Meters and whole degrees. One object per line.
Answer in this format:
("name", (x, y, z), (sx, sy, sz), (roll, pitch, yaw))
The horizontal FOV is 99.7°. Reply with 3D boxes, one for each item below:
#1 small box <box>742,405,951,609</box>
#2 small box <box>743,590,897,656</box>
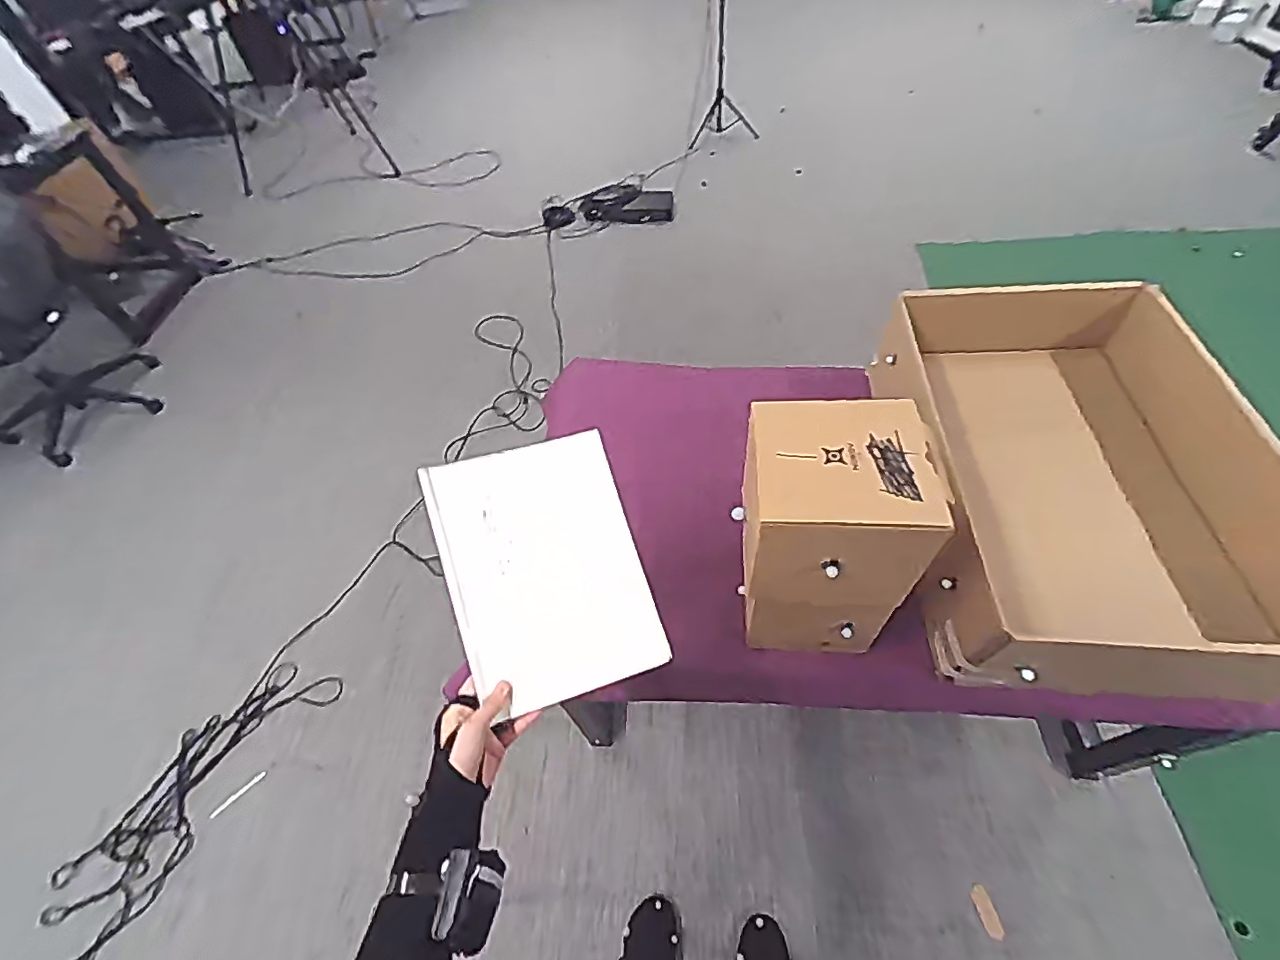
("small box", (0.211, 0.034, 0.610), (0.179, 0.176, 0.168), (1, 51, 7))
("small box", (0.232, 0.128, 0.744), (0.168, 0.176, 0.179), (1, 51, 7))
